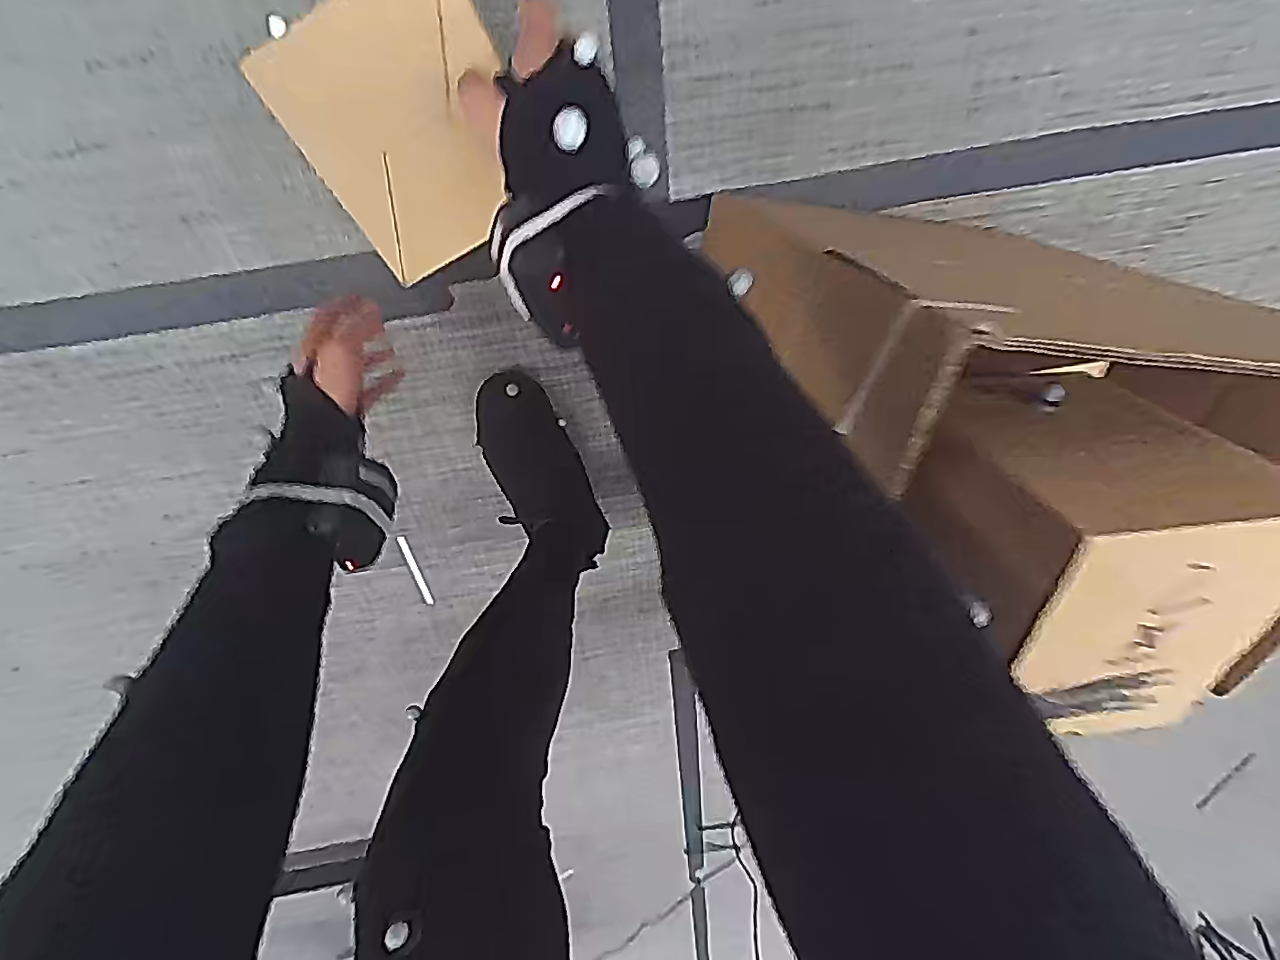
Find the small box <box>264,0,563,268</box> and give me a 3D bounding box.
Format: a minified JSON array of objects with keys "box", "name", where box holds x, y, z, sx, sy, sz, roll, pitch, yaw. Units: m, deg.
[{"box":[-0.176,-0.315,0.463,0.168,0.176,0.179,-25,124,9],"name":"small box"}]
